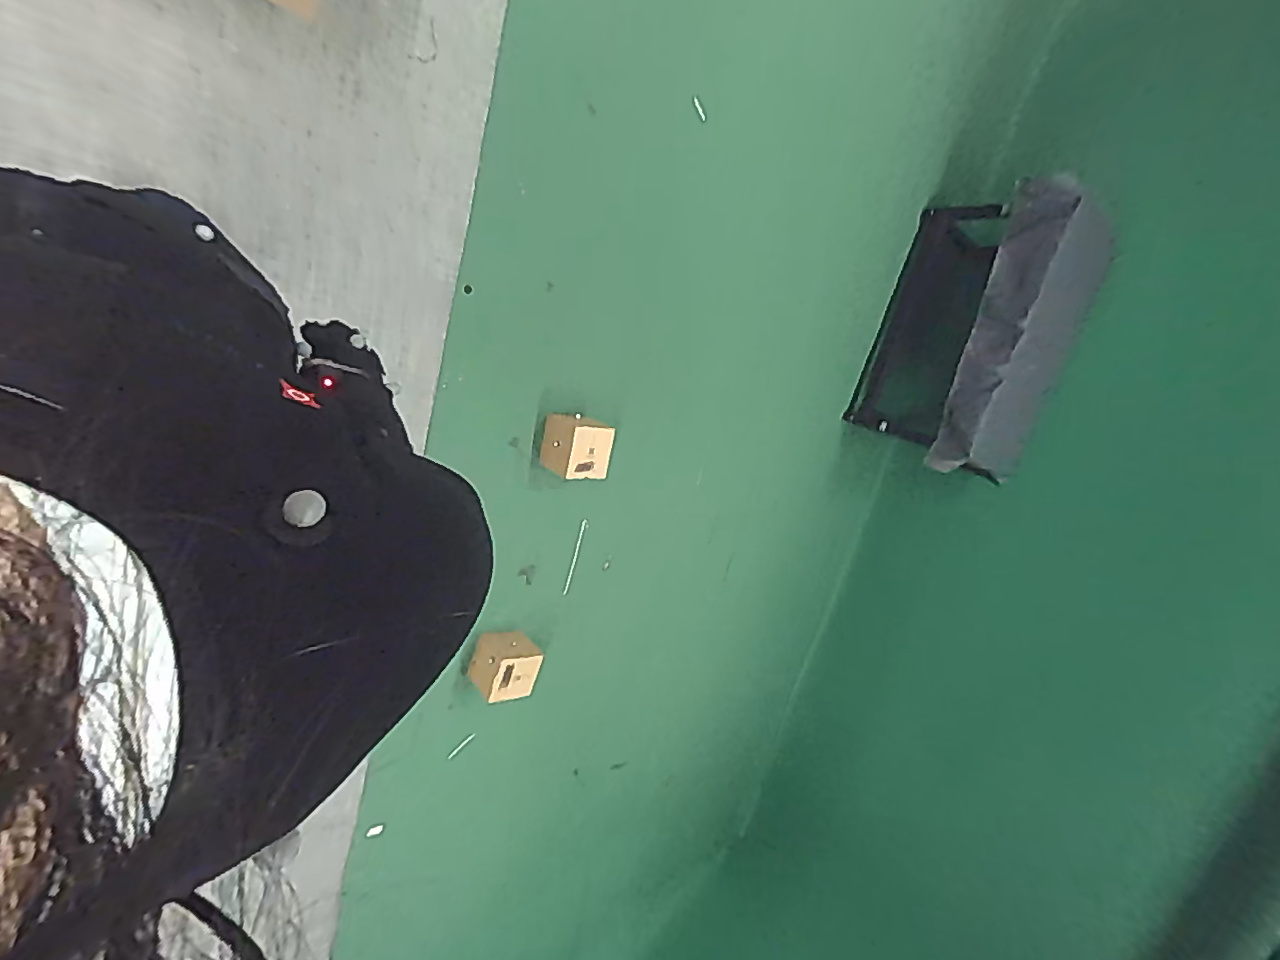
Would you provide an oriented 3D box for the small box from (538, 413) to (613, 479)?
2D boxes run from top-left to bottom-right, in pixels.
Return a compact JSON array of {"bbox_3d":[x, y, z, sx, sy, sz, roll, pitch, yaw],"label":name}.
[{"bbox_3d":[-0.220,-0.113,1.803,0.168,0.176,0.179,0,109,-44],"label":"small box"}]
